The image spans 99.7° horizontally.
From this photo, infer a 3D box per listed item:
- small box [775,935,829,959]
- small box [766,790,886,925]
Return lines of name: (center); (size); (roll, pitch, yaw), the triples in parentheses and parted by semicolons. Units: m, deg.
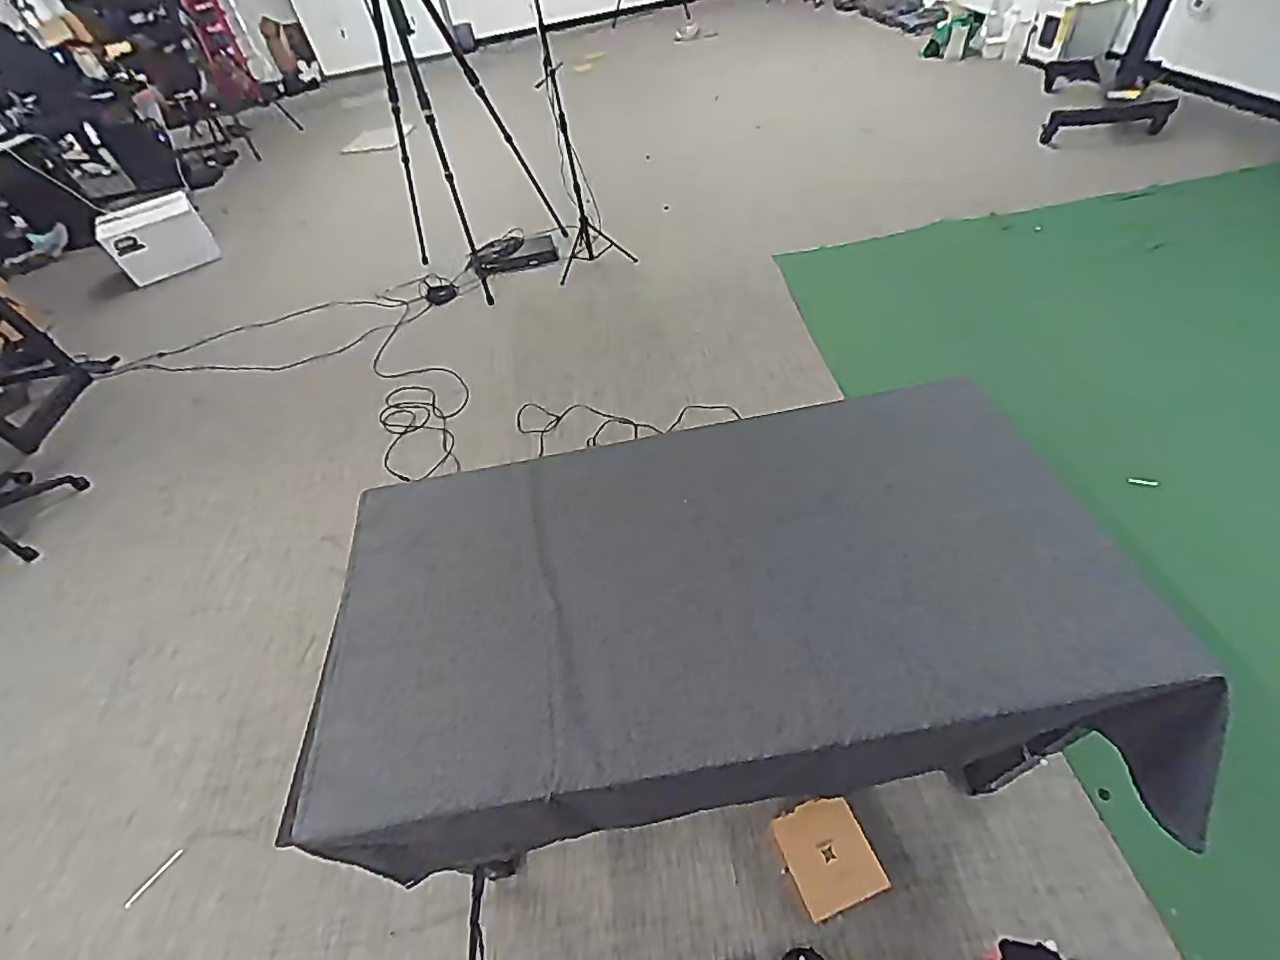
small box: (0.310, 0.992, 0.961); (0.168, 0.176, 0.179); (0, 18, 46)
small box: (0.371, 0.784, 1.121); (0.168, 0.176, 0.179); (-19, 49, -7)
